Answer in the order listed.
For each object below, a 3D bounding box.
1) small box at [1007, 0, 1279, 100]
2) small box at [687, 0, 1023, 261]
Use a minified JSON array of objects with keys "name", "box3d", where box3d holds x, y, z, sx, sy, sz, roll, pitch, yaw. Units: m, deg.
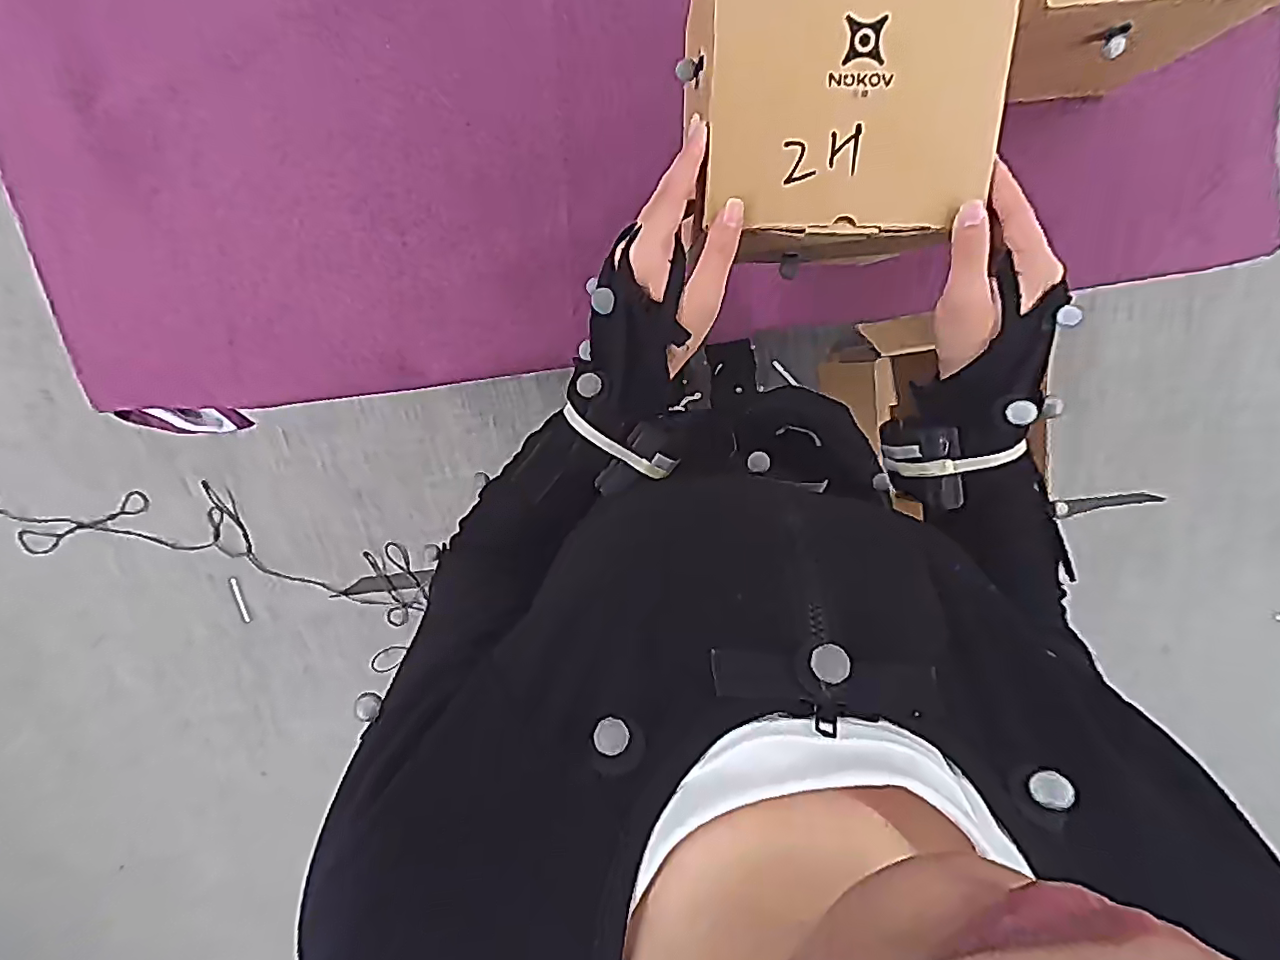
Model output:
[{"name":"small box","box3d":[0.366,-0.430,0.431,0.179,0.176,0.168,-2,104,3]},{"name":"small box","box3d":[0.122,-0.256,0.372,0.168,0.176,0.179,0,106,0]}]
